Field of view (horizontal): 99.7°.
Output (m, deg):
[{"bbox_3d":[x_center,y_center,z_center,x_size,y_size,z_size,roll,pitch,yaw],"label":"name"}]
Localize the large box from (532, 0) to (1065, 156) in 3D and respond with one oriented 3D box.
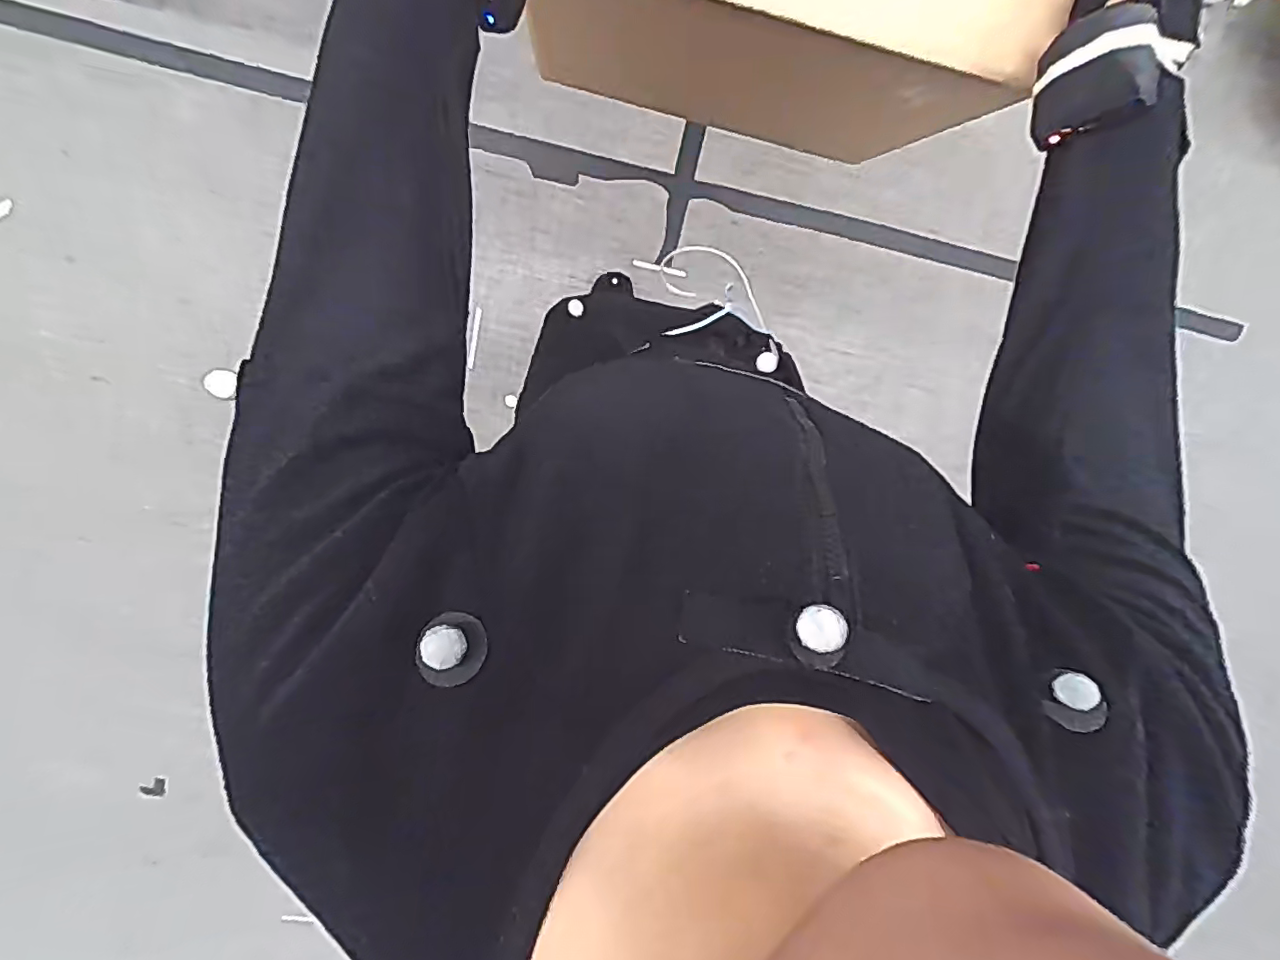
[{"bbox_3d":[0.124,-0.525,0.472,0.408,0.320,0.320,10,112,-9],"label":"large box"}]
